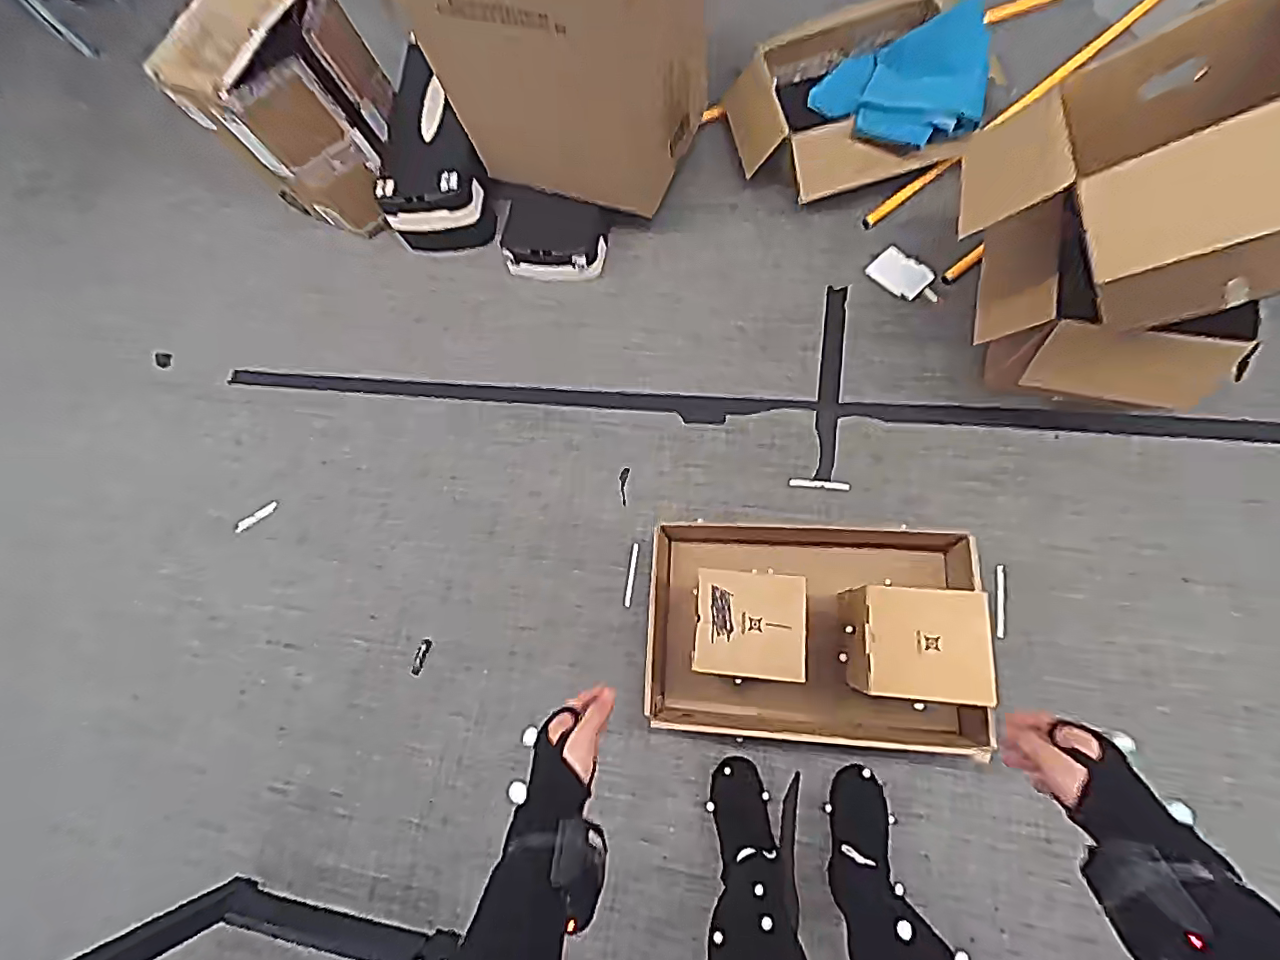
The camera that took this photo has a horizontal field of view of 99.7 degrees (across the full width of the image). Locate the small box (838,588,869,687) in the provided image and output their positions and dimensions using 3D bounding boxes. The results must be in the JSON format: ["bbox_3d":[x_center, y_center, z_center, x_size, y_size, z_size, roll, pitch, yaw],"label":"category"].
[{"bbox_3d":[0.483,0.309,1.044,0.168,0.176,0.179,2,74,11],"label":"small box"}]

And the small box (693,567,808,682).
[{"bbox_3d":[0.189,0.249,0.940,0.179,0.176,0.168,3,76,9],"label":"small box"}]

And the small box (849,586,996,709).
[{"bbox_3d":[0.451,0.268,0.890,0.179,0.176,0.168,2,75,12],"label":"small box"}]
